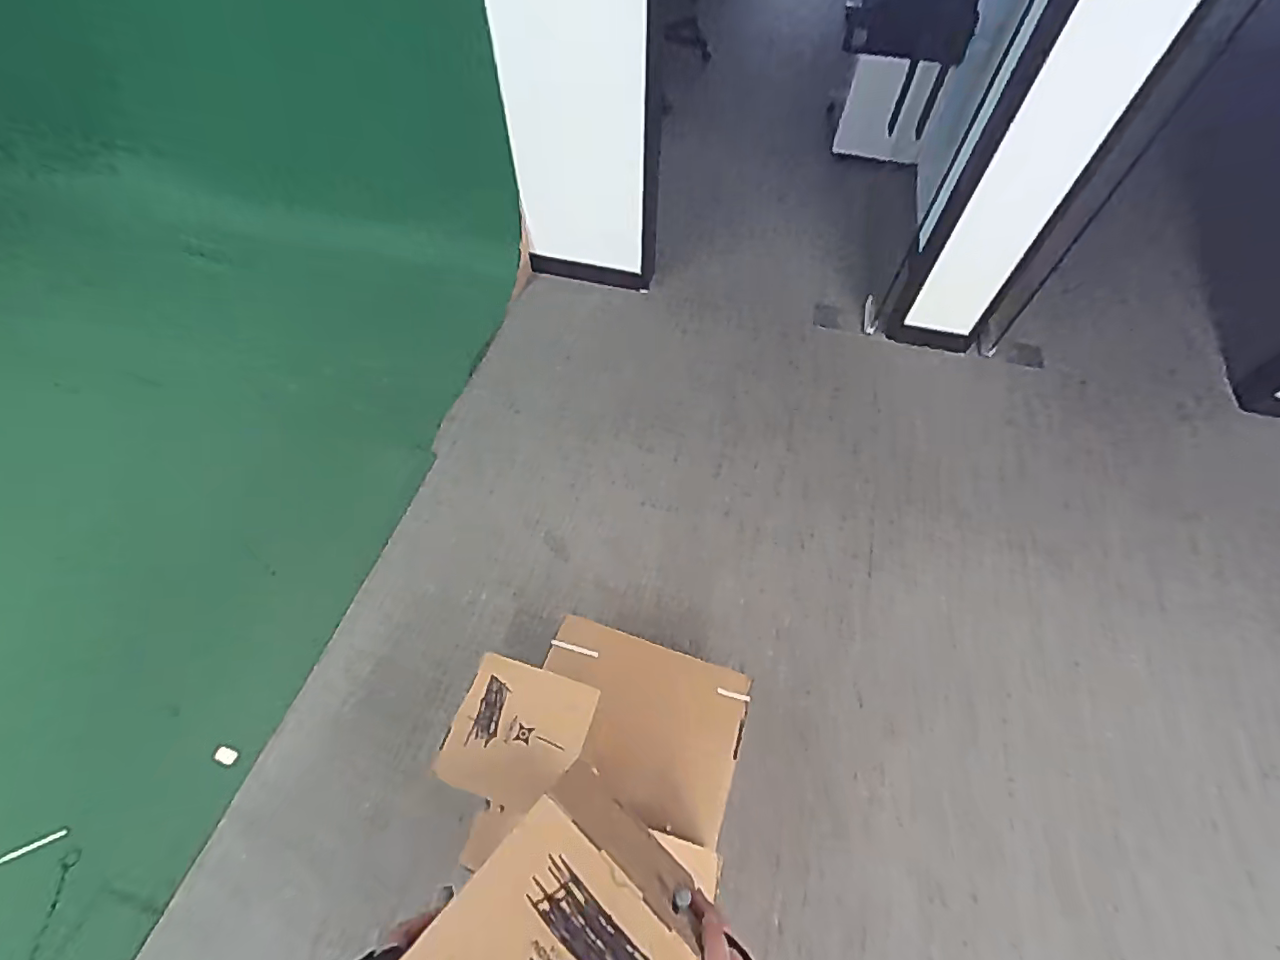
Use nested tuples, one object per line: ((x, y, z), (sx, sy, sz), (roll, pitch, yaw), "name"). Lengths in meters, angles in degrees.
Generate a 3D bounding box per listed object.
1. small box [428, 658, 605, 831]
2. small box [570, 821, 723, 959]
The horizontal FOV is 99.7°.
((-0.159, 0.378, 0.764), (0.179, 0.176, 0.168), (15, 57, 9), "small box")
((0.011, 0.627, 0.802), (0.179, 0.176, 0.168), (14, 56, 7), "small box")
